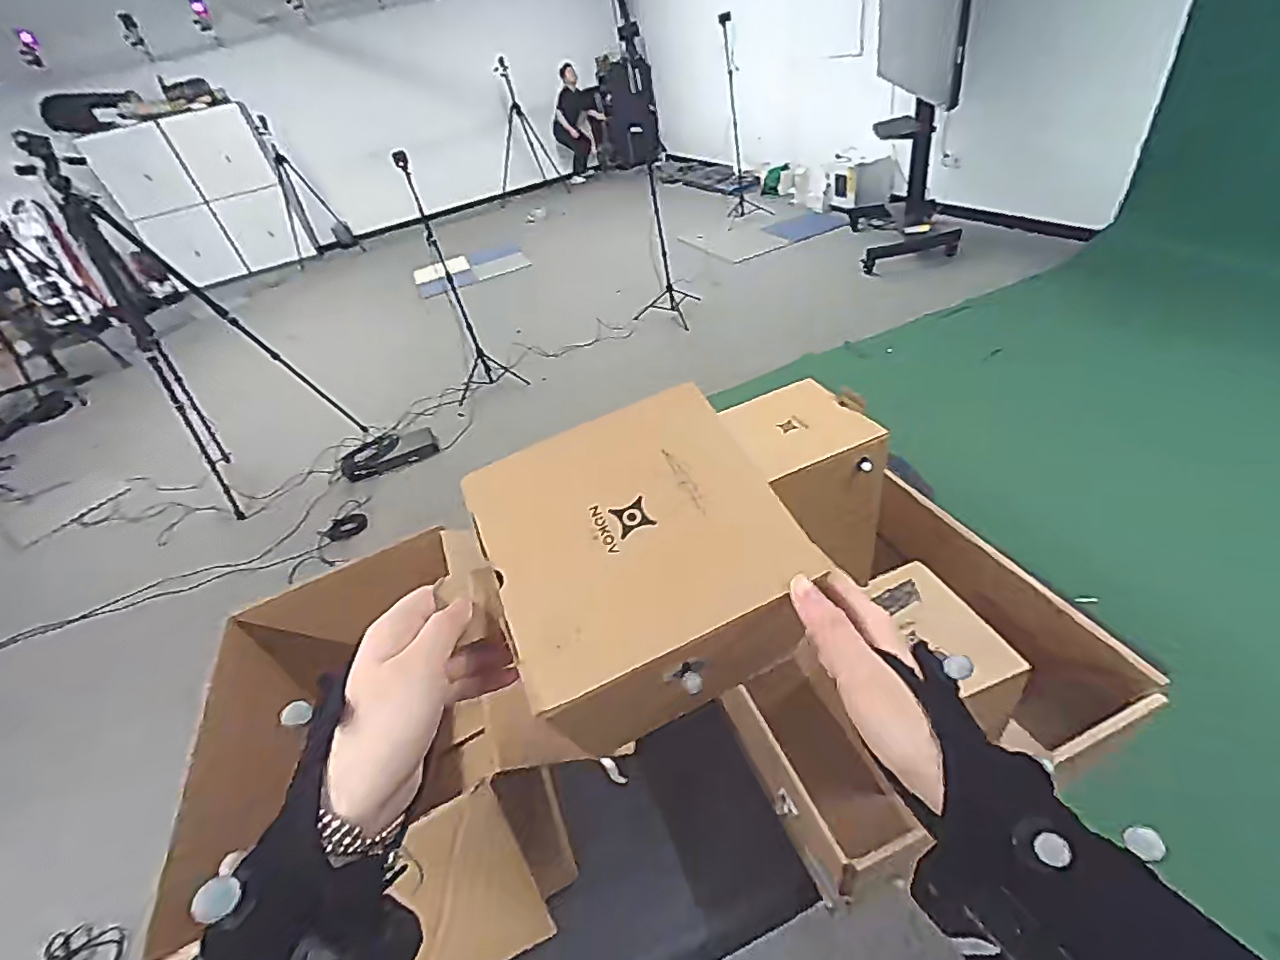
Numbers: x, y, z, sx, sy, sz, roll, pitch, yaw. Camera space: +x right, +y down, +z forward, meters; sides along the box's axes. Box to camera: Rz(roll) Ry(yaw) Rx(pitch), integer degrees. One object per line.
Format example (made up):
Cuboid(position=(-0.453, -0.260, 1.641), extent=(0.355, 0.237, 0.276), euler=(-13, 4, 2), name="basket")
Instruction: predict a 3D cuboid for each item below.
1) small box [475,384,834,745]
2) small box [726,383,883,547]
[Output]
Cuboid(position=(0.009, 0.069, 0.393), extent=(0.179, 0.176, 0.168), euler=(-24, 58, -9), name="small box")
Cuboid(position=(0.211, -0.006, 0.762), extent=(0.179, 0.176, 0.168), euler=(-22, 41, -10), name="small box")
